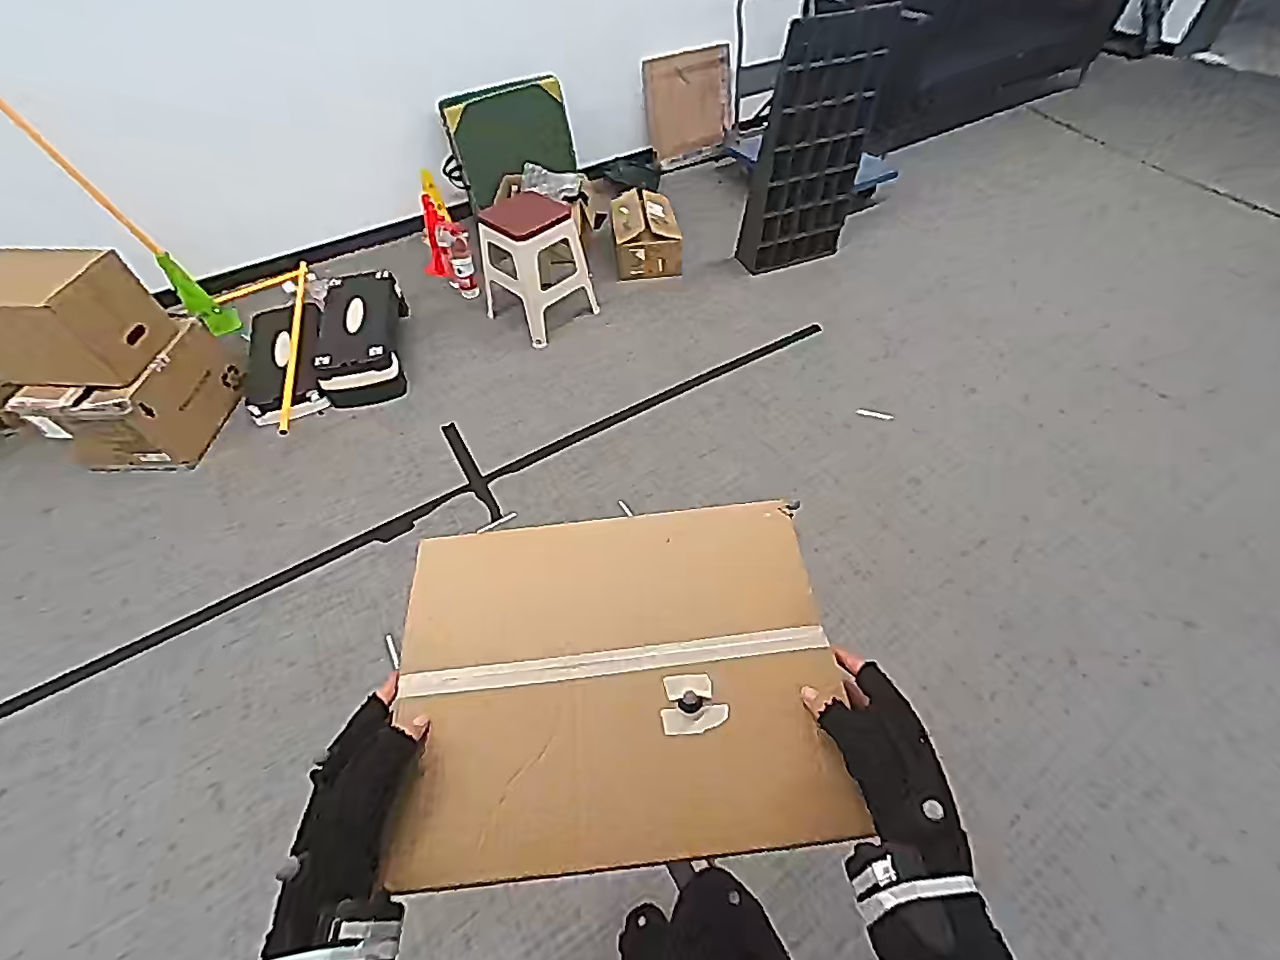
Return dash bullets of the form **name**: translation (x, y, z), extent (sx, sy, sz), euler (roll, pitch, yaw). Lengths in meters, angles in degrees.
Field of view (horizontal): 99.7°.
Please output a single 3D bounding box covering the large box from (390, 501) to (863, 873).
- **large box**: translation (-0.018, 0.256, 0.649), extent (0.408, 0.320, 0.320), euler (-6, 56, -1)
